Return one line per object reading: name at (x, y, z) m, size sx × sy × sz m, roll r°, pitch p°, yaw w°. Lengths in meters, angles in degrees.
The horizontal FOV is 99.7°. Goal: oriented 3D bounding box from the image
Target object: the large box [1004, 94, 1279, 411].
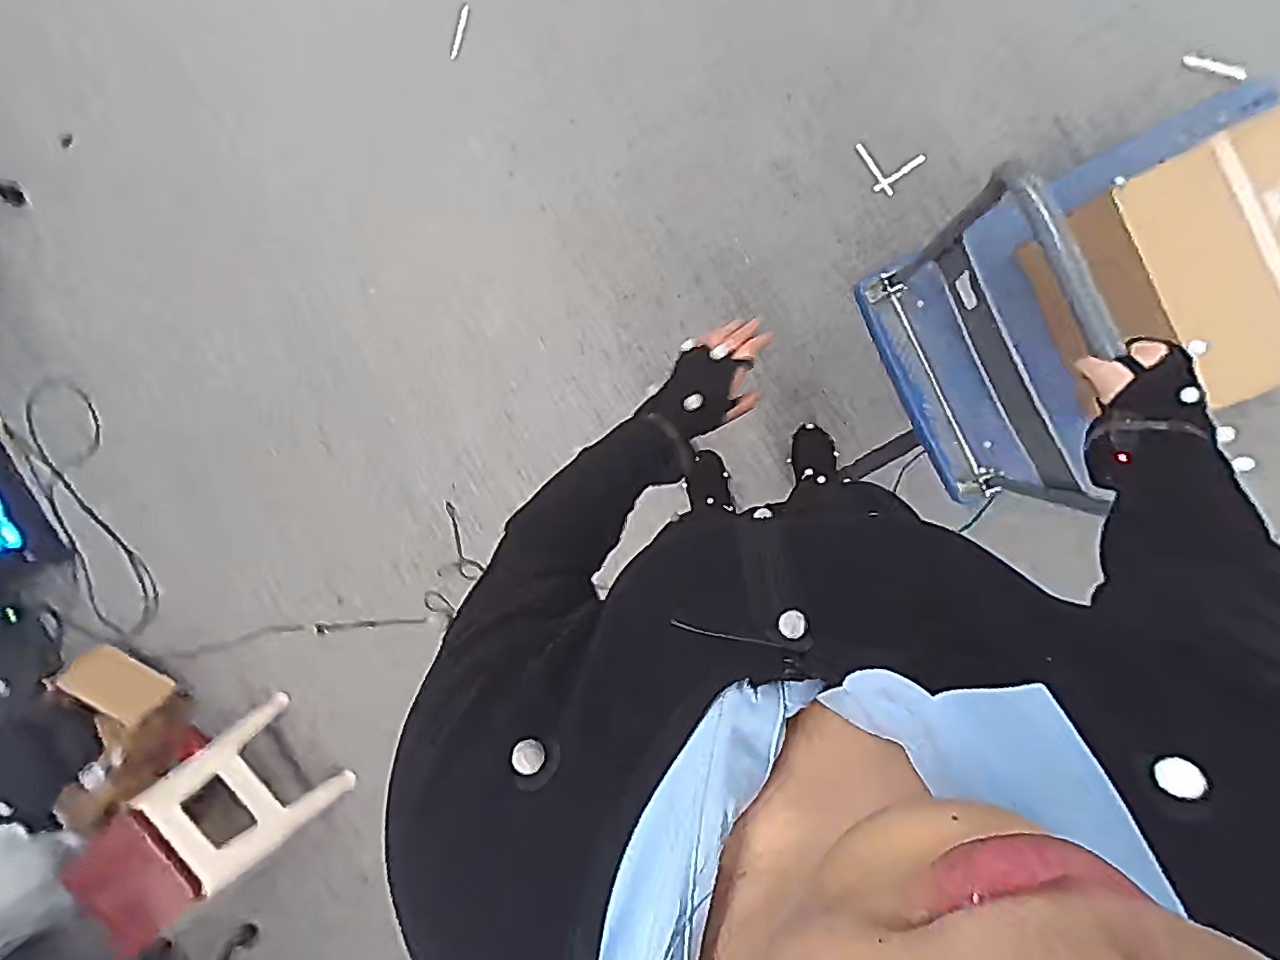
large box at (0.999, -0.384, 1.029) m, size 0.320 × 0.320 × 0.408 m, roll -26°, pitch 89°, yaw 9°
